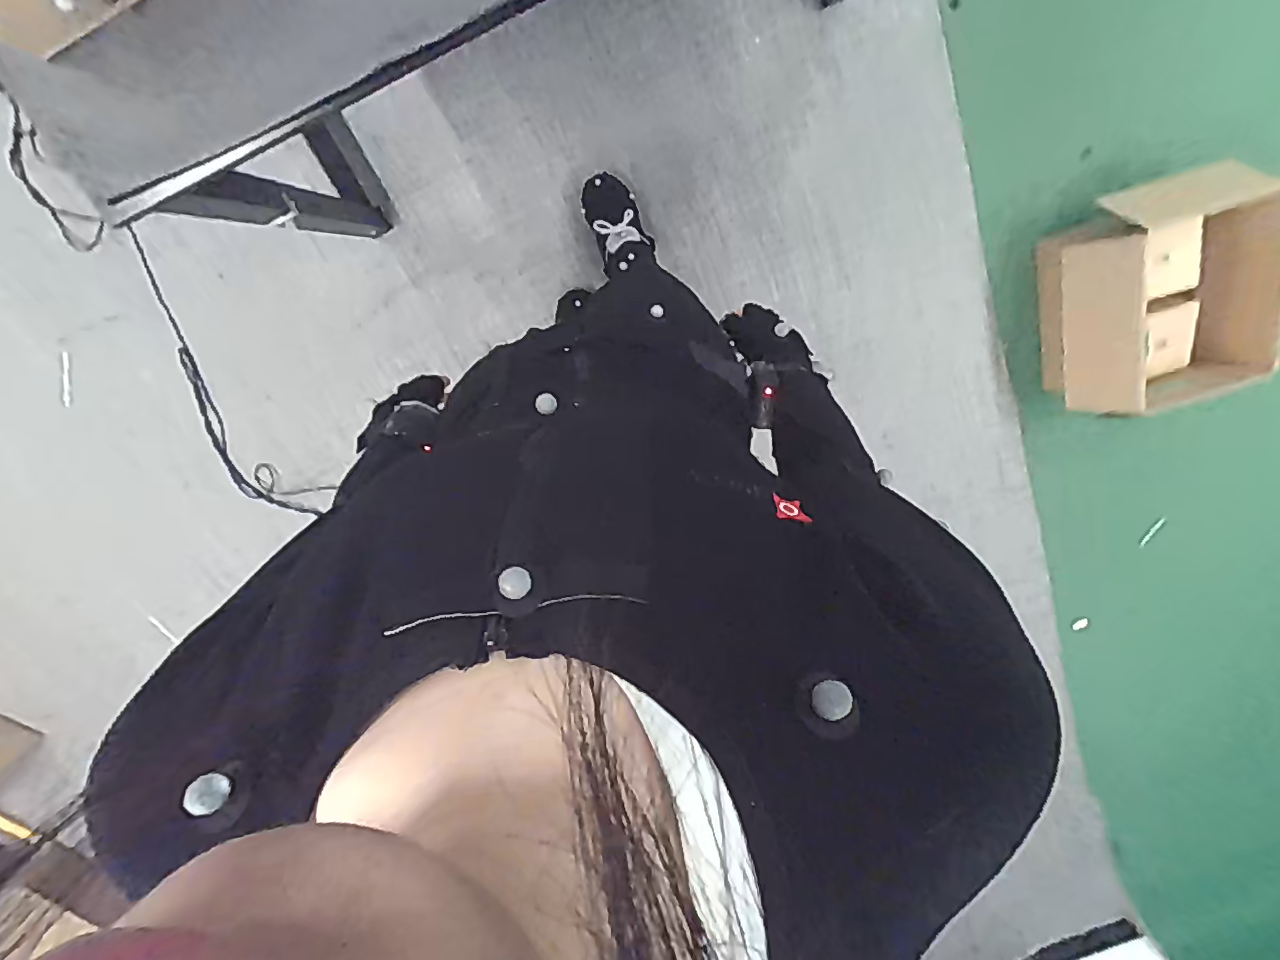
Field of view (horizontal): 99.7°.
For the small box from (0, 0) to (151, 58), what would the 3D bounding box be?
[{"bbox_3d":[-0.549,-0.489,0.421,0.168,0.176,0.179,-27,110,5],"label":"small box"}]
